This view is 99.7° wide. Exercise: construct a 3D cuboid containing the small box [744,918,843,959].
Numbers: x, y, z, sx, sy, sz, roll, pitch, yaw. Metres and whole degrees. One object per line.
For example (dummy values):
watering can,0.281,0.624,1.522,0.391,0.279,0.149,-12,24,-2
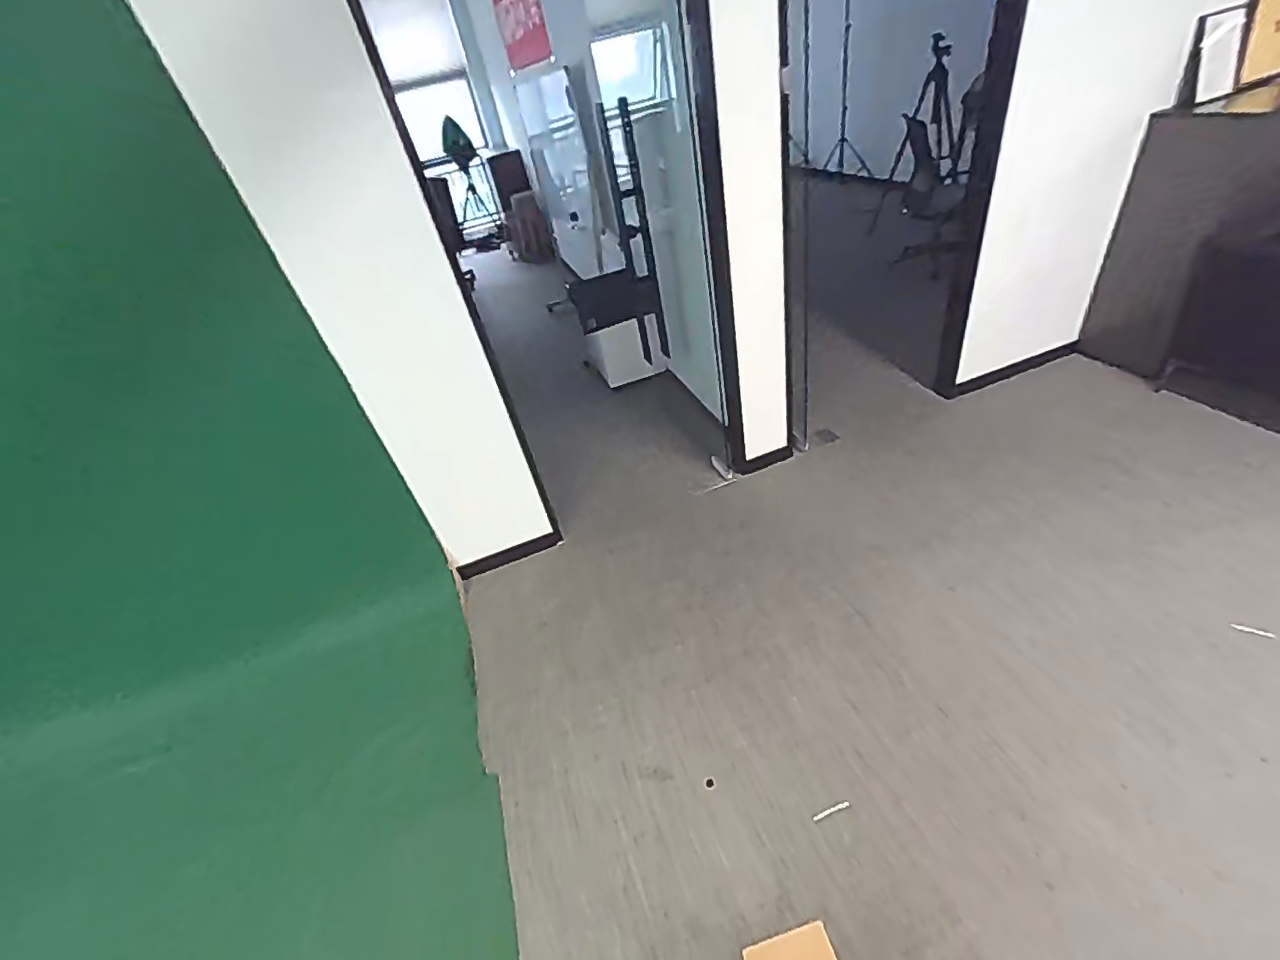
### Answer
small box,0.287,0.976,1.024,0.179,0.176,0.168,3,42,20
